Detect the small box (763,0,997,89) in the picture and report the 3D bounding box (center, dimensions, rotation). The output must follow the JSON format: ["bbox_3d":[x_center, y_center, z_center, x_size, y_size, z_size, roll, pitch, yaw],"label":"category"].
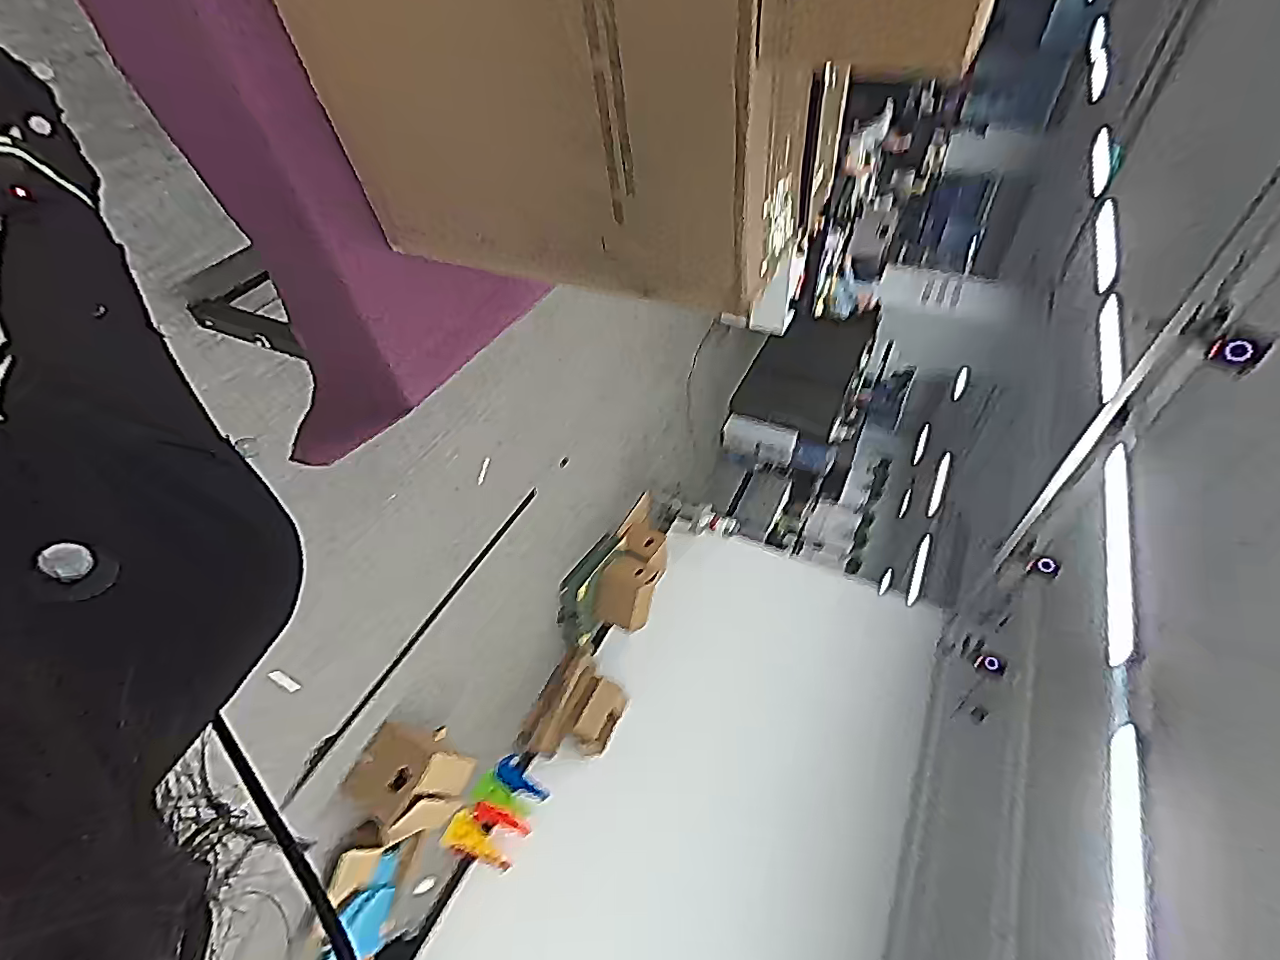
[{"bbox_3d":[0.214,-0.445,0.438,0.179,0.176,0.168,-57,156,-33],"label":"small box"}]
